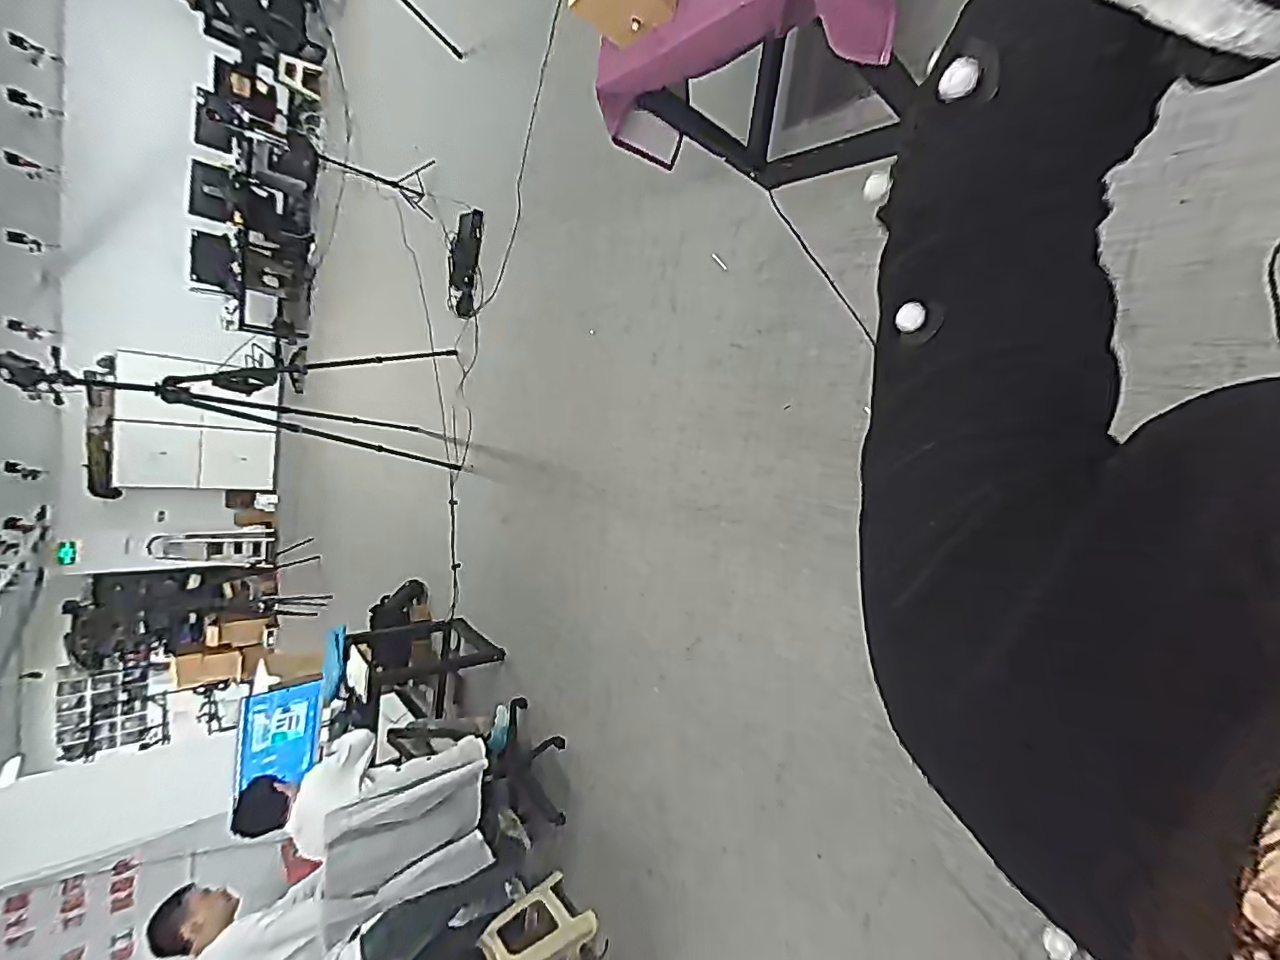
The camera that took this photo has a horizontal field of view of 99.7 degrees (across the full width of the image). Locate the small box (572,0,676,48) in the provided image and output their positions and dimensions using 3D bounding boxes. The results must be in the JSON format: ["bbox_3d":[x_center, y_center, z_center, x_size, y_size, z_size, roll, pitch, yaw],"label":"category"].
[{"bbox_3d":[-0.024,-1.105,1.176,0.179,0.176,0.168,8,93,46],"label":"small box"}]
